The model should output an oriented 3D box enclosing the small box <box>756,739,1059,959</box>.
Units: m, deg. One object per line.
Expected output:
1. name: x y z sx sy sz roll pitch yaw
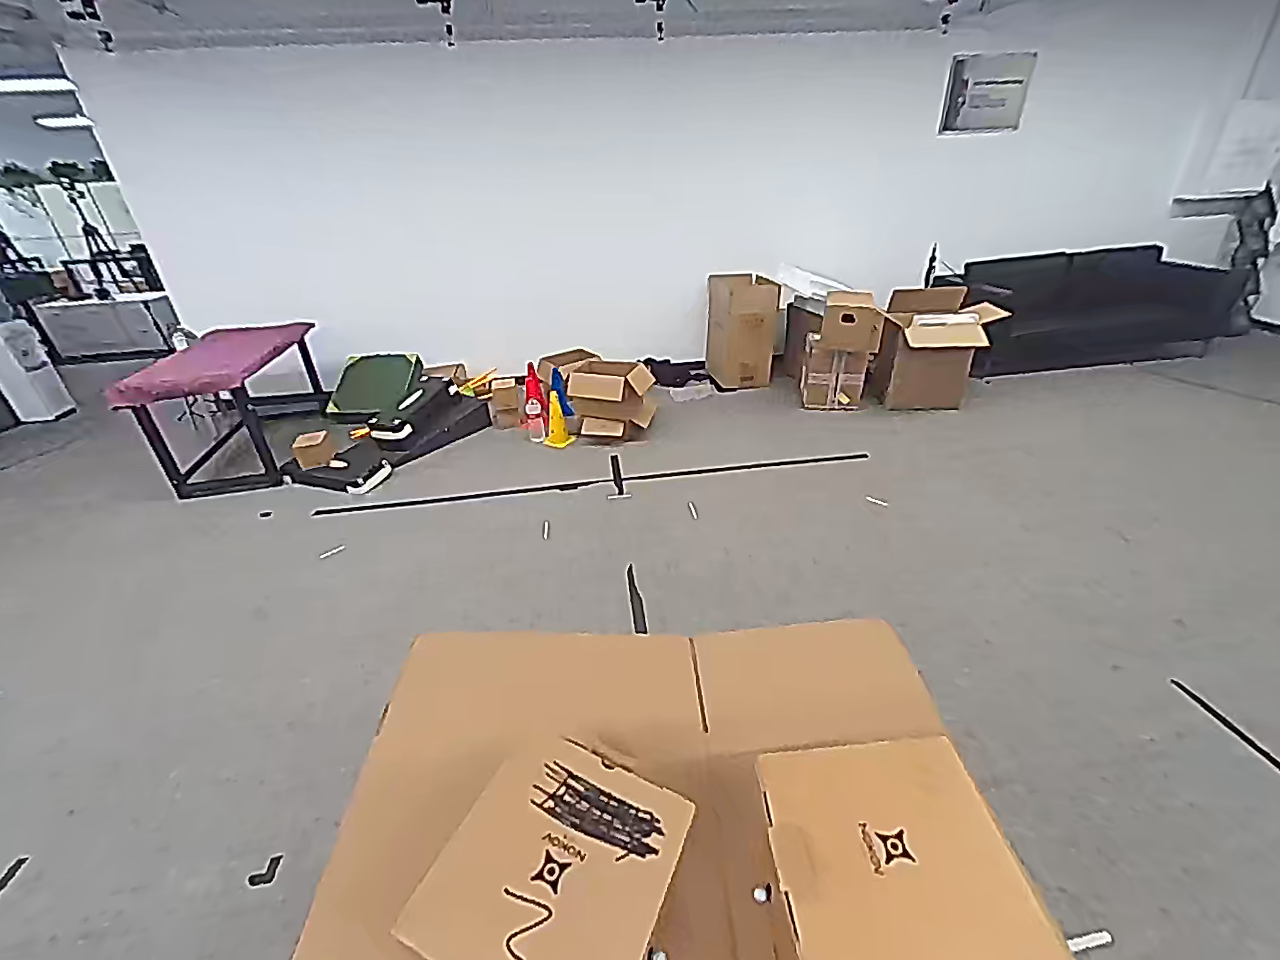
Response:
1. small box: 0.206 0.358 0.479 0.179 0.176 0.168 -7 34 1
